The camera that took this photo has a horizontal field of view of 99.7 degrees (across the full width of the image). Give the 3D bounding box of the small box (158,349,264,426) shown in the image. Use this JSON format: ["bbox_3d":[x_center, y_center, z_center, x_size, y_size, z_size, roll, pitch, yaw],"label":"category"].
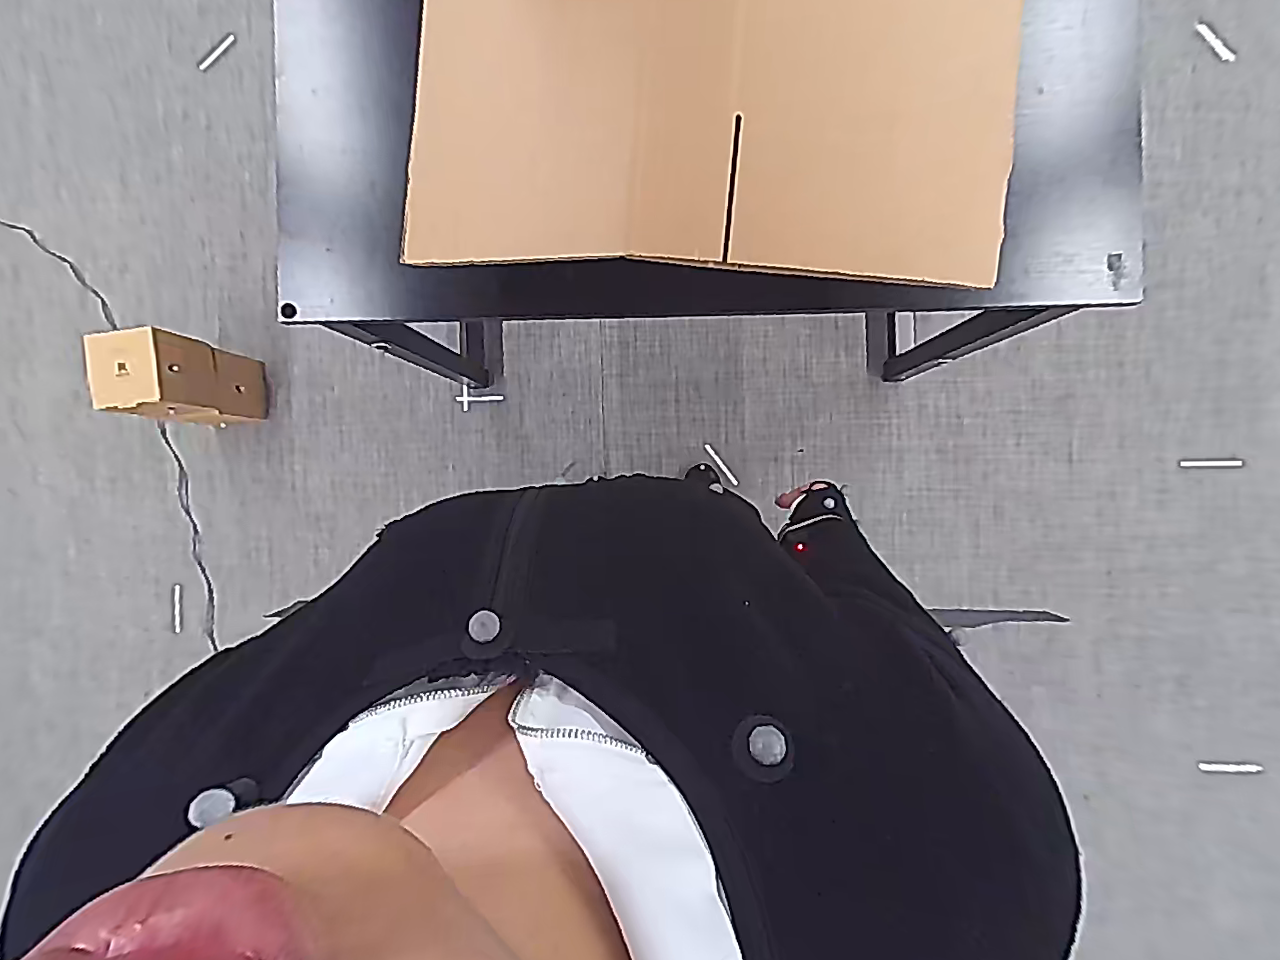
[{"bbox_3d":[-1.167,-0.247,1.473,0.168,0.176,0.179,-4,91,3],"label":"small box"}]

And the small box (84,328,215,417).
[{"bbox_3d":[-1.177,-0.252,1.311,0.168,0.176,0.179,-7,89,2],"label":"small box"}]
